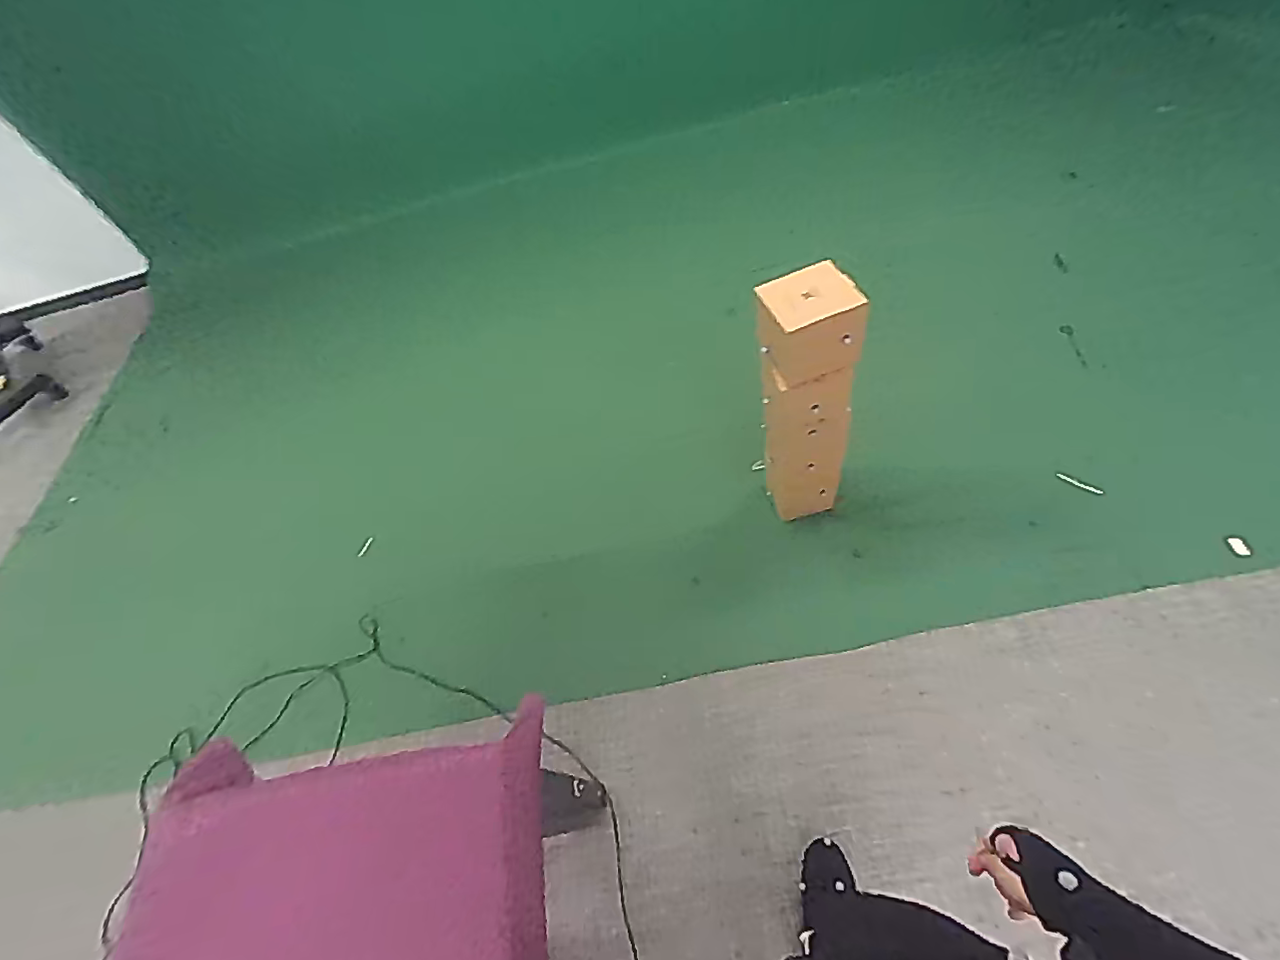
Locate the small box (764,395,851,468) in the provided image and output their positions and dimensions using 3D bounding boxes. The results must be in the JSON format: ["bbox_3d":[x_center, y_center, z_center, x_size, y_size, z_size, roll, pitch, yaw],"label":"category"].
[{"bbox_3d":[0.447,-0.155,1.459,0.179,0.176,0.168,-16,55,2],"label":"small box"}]

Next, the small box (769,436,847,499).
[{"bbox_3d":[0.485,-0.069,1.592,0.179,0.176,0.168,-15,55,4],"label":"small box"}]

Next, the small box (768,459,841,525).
[{"bbox_3d":[0.517,0.020,1.724,0.179,0.176,0.168,-16,54,3],"label":"small box"}]

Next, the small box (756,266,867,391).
[{"bbox_3d":[0.370,-0.330,1.193,0.179,0.176,0.168,-21,54,1],"label":"small box"}]

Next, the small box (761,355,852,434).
[{"bbox_3d":[0.401,-0.231,1.321,0.168,0.176,0.179,-14,56,5],"label":"small box"}]
